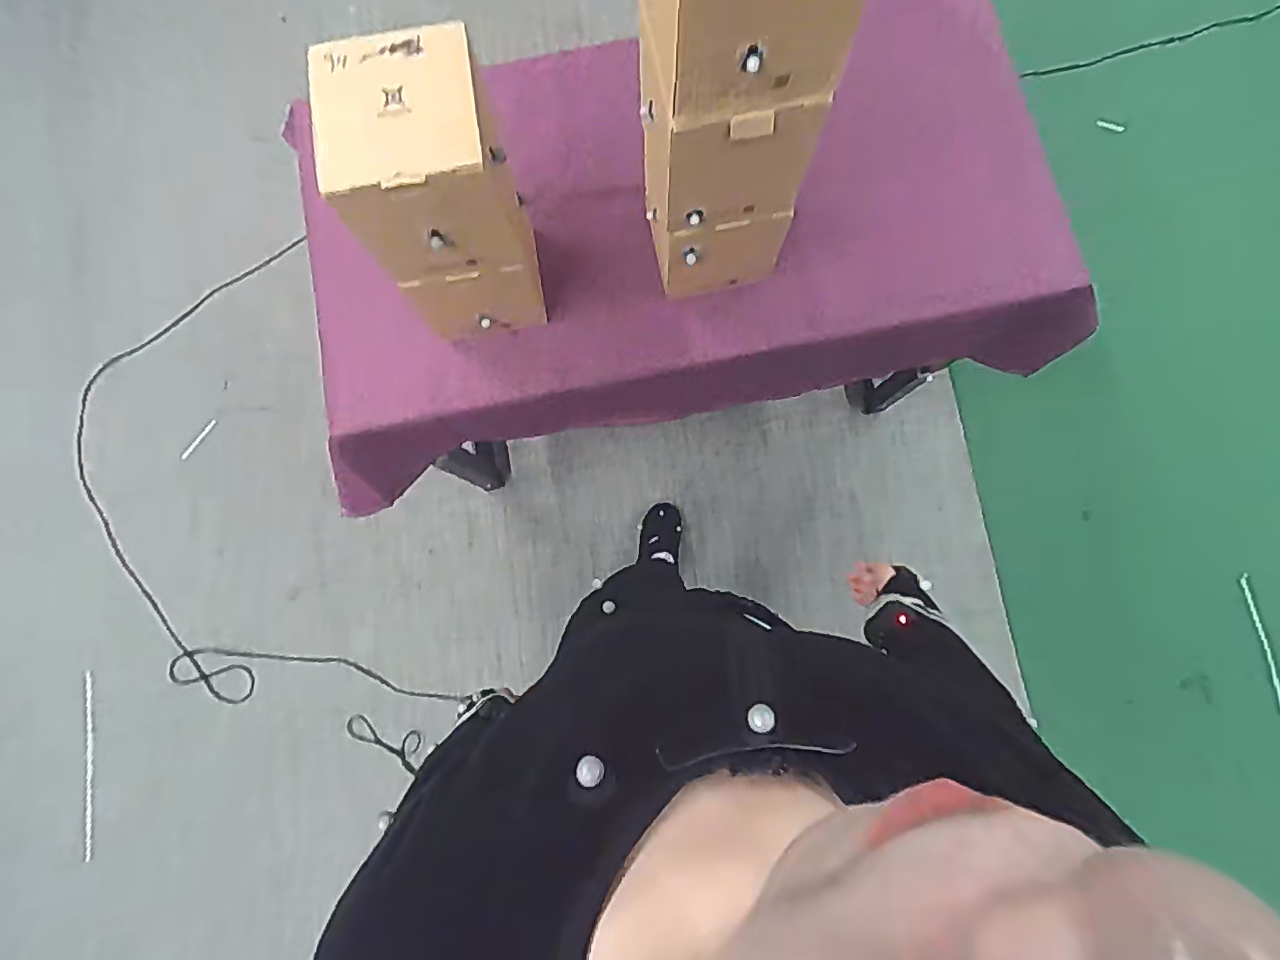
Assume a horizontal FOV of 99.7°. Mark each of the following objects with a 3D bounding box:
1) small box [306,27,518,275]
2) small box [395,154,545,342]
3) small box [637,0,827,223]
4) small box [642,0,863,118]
[{"bbox_3d":[-0.246,-0.356,0.621,0.168,0.176,0.179,-10,80,-1],"label":"small box"},{"bbox_3d":[-0.242,-0.324,0.782,0.168,0.176,0.179,-10,80,0],"label":"small box"},{"bbox_3d":[0.094,-0.426,0.626,0.168,0.176,0.179,-11,79,-1],"label":"small box"},{"bbox_3d":[0.091,-0.464,0.468,0.168,0.176,0.179,-12,80,-1],"label":"small box"}]
